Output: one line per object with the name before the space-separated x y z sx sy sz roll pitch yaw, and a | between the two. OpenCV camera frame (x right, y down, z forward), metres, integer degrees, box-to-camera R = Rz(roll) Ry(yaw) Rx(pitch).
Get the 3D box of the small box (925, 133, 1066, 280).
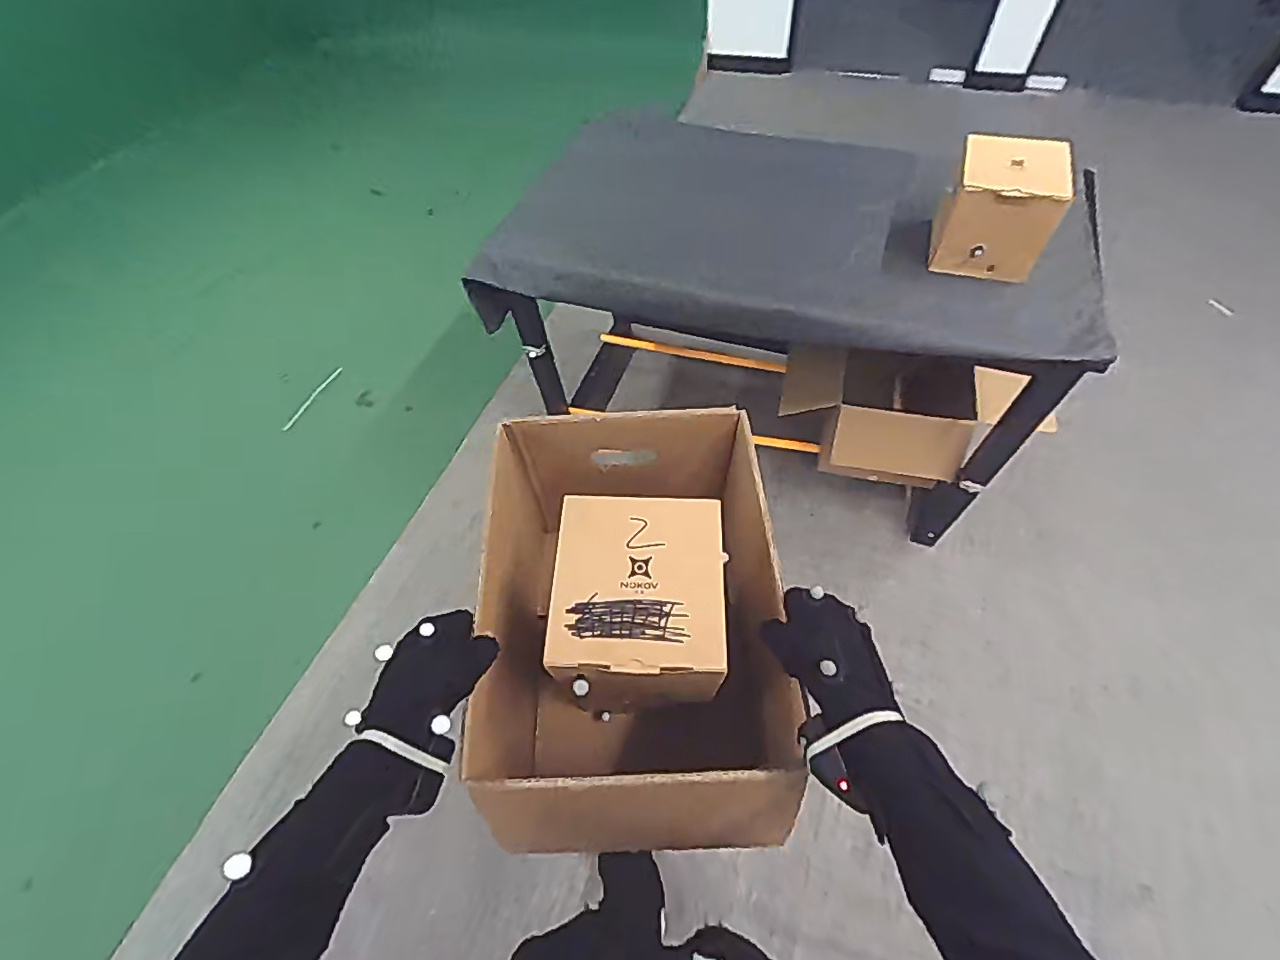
small box | 0.644 -0.502 0.997 0.168 0.176 0.179 14 61 14
